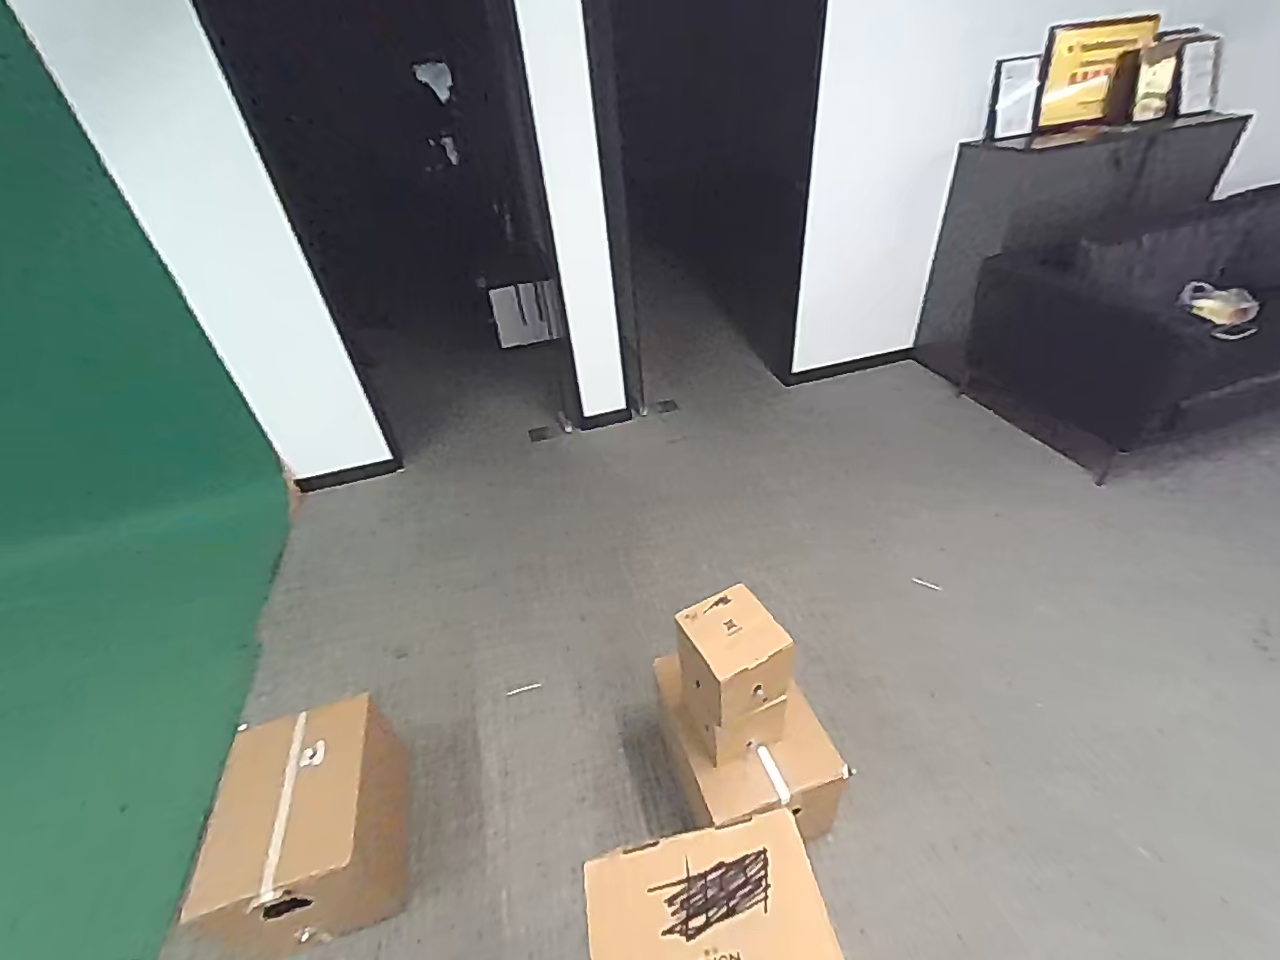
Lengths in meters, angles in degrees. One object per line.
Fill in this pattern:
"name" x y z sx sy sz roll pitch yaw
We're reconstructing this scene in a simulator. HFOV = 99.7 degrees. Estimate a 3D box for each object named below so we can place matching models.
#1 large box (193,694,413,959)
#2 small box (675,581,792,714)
"large box" -0.758 0.818 1.301 0.320 0.320 0.408 -15 38 -10
"small box" 0.187 0.346 1.101 0.168 0.176 0.179 -22 41 -16
